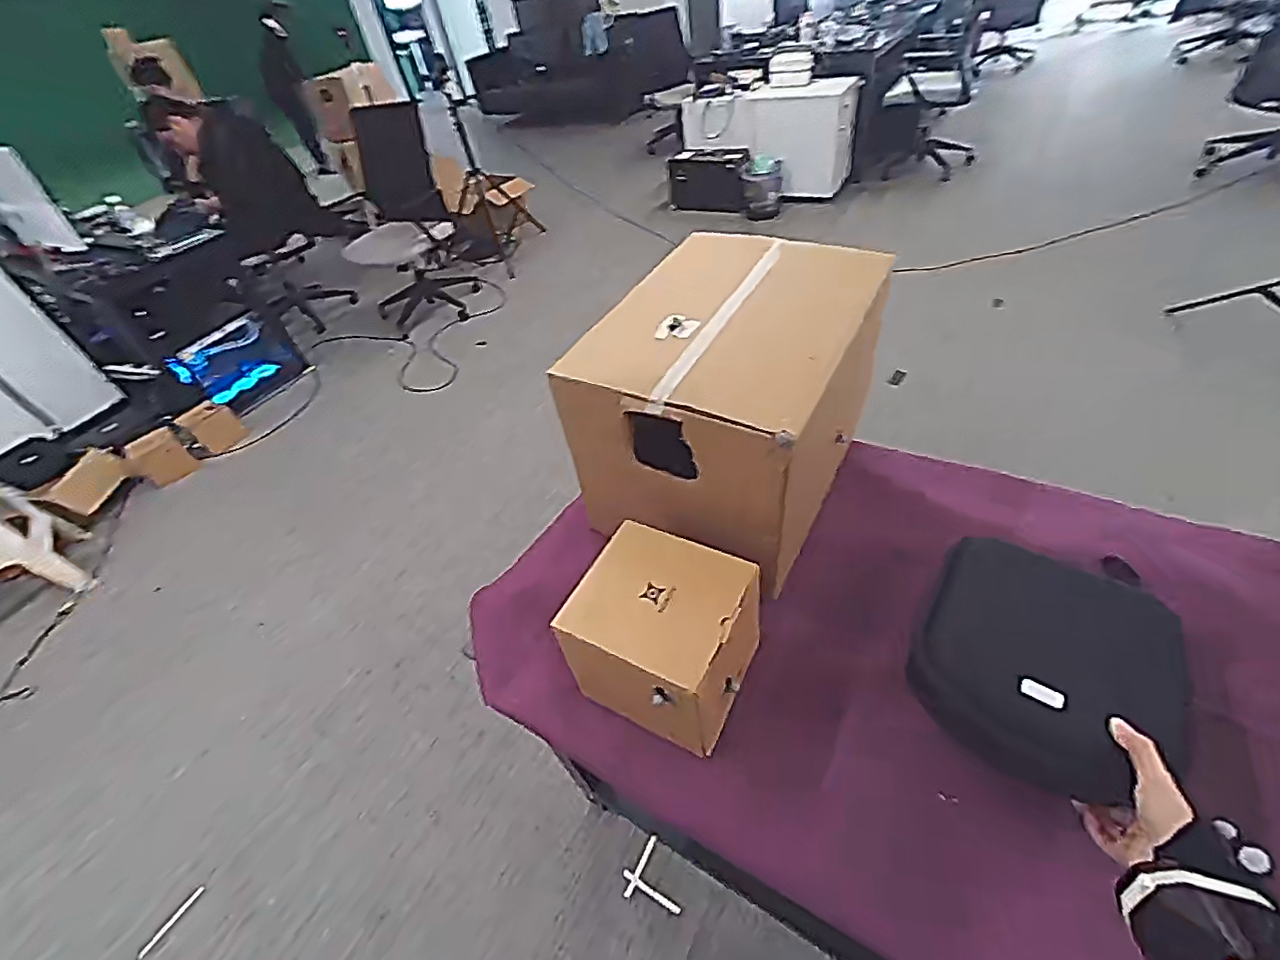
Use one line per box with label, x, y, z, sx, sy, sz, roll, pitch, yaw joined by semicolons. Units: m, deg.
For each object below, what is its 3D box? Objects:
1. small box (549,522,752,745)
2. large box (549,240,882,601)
small box;0.023;0.182;0.646;0.179;0.176;0.168;16;50;24
large box;0.131;-0.105;0.810;0.320;0.320;0.408;18;54;25
